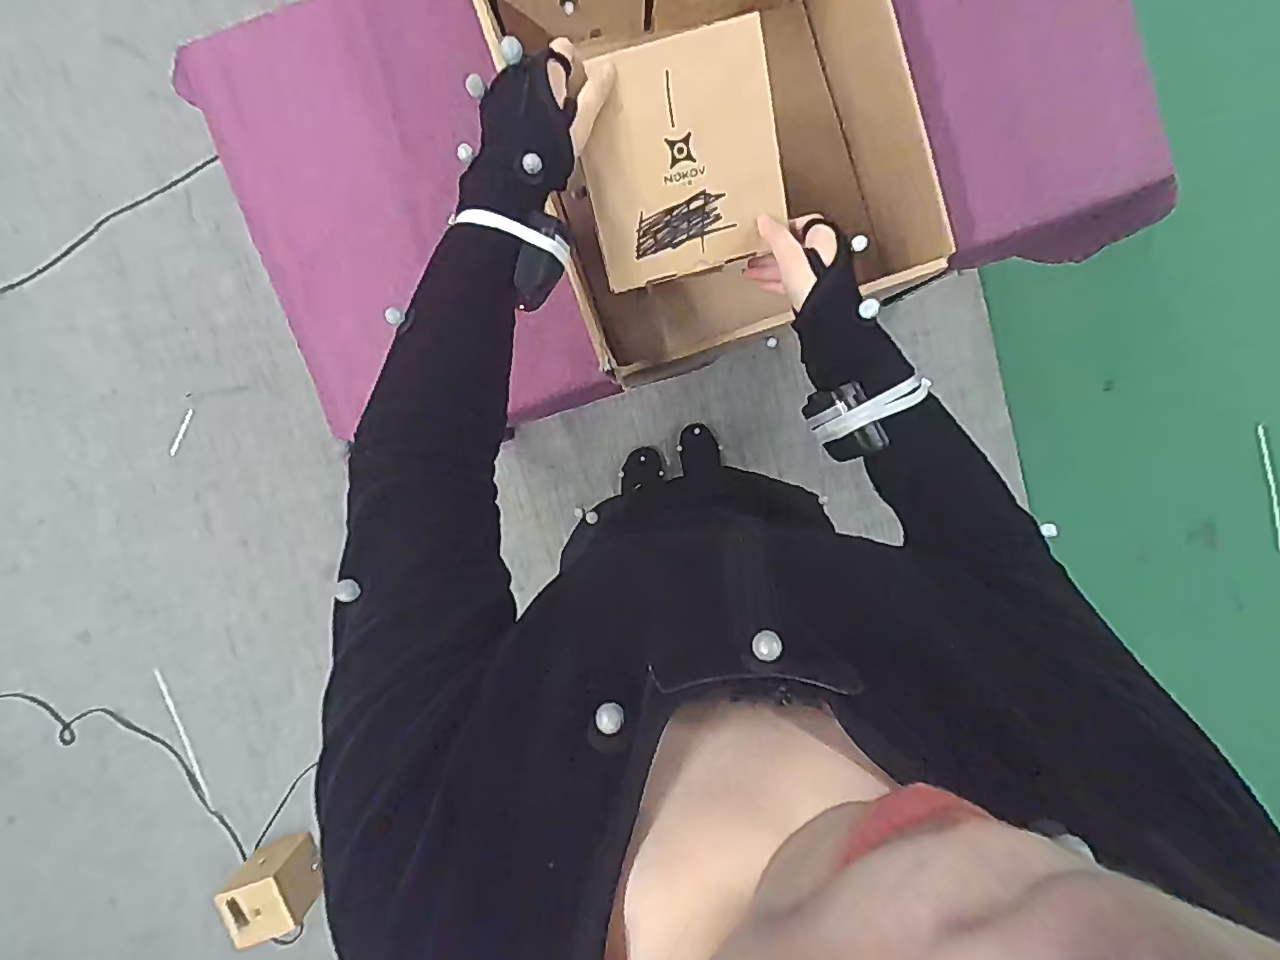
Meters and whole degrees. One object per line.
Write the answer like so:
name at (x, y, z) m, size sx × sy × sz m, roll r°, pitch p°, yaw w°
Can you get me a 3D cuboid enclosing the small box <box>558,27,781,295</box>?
small box at (0.029, -0.295, 0.544) m, size 0.168 × 0.176 × 0.179 m, roll -15°, pitch 108°, yaw 3°
